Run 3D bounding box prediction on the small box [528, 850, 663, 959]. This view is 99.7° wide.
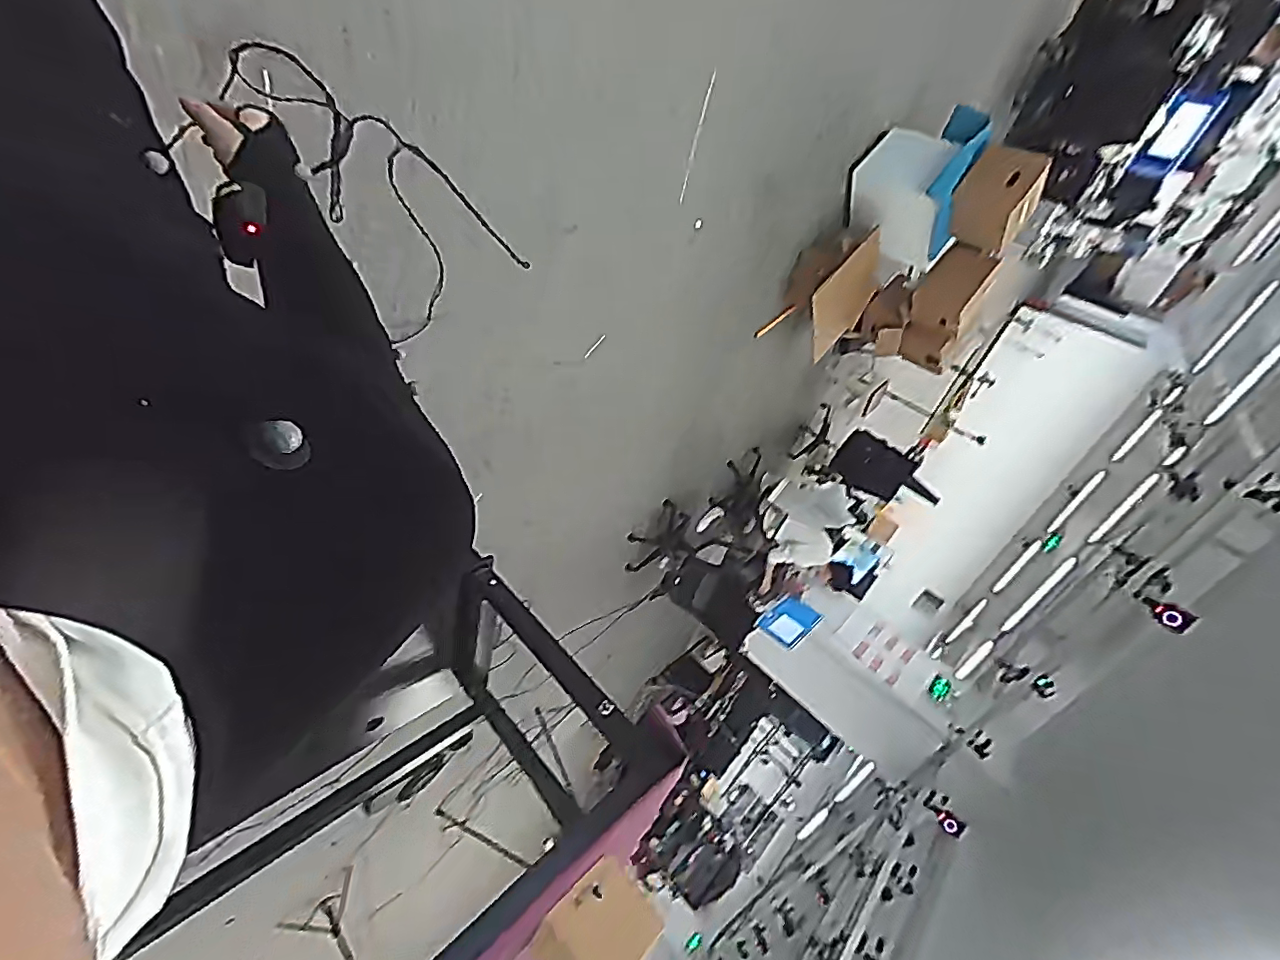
[{"bbox_3d":[-0.091,0.858,1.029,0.168,0.176,0.179,-20,140,-46],"label":"small box"}]
